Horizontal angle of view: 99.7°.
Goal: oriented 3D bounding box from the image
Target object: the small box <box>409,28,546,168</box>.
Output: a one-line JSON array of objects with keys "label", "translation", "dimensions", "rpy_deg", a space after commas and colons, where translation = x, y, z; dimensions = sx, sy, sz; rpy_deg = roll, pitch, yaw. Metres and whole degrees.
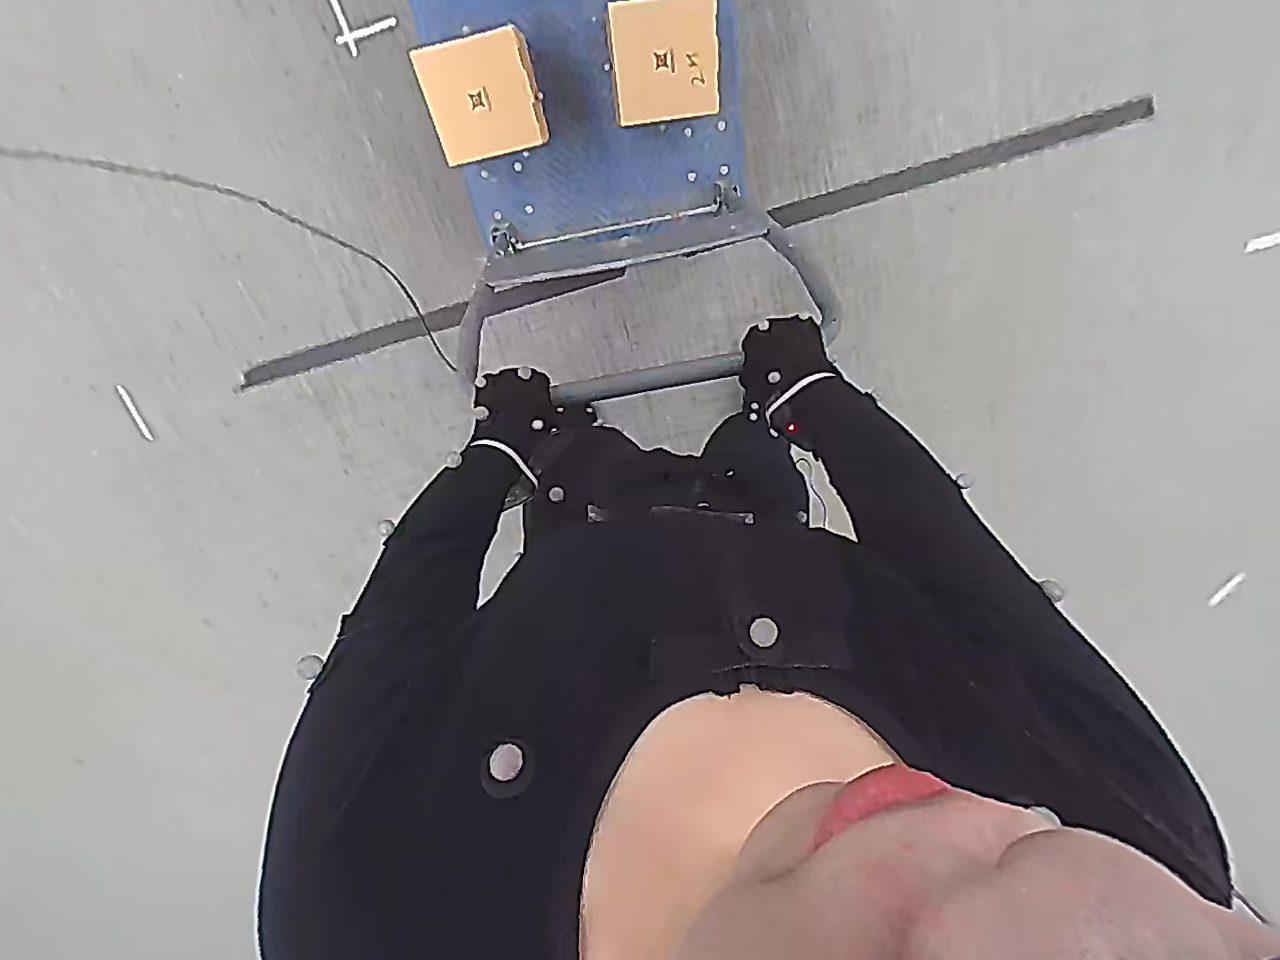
[{"label": "small box", "translation": [-0.277, -0.672, 0.966], "dimensions": [0.179, 0.176, 0.168], "rpy_deg": [-14, 125, 2]}]

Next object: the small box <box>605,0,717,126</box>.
[{"label": "small box", "translation": [0.034, -0.734, 0.957], "dimensions": [0.179, 0.176, 0.168], "rpy_deg": [-8, 125, 0]}]
